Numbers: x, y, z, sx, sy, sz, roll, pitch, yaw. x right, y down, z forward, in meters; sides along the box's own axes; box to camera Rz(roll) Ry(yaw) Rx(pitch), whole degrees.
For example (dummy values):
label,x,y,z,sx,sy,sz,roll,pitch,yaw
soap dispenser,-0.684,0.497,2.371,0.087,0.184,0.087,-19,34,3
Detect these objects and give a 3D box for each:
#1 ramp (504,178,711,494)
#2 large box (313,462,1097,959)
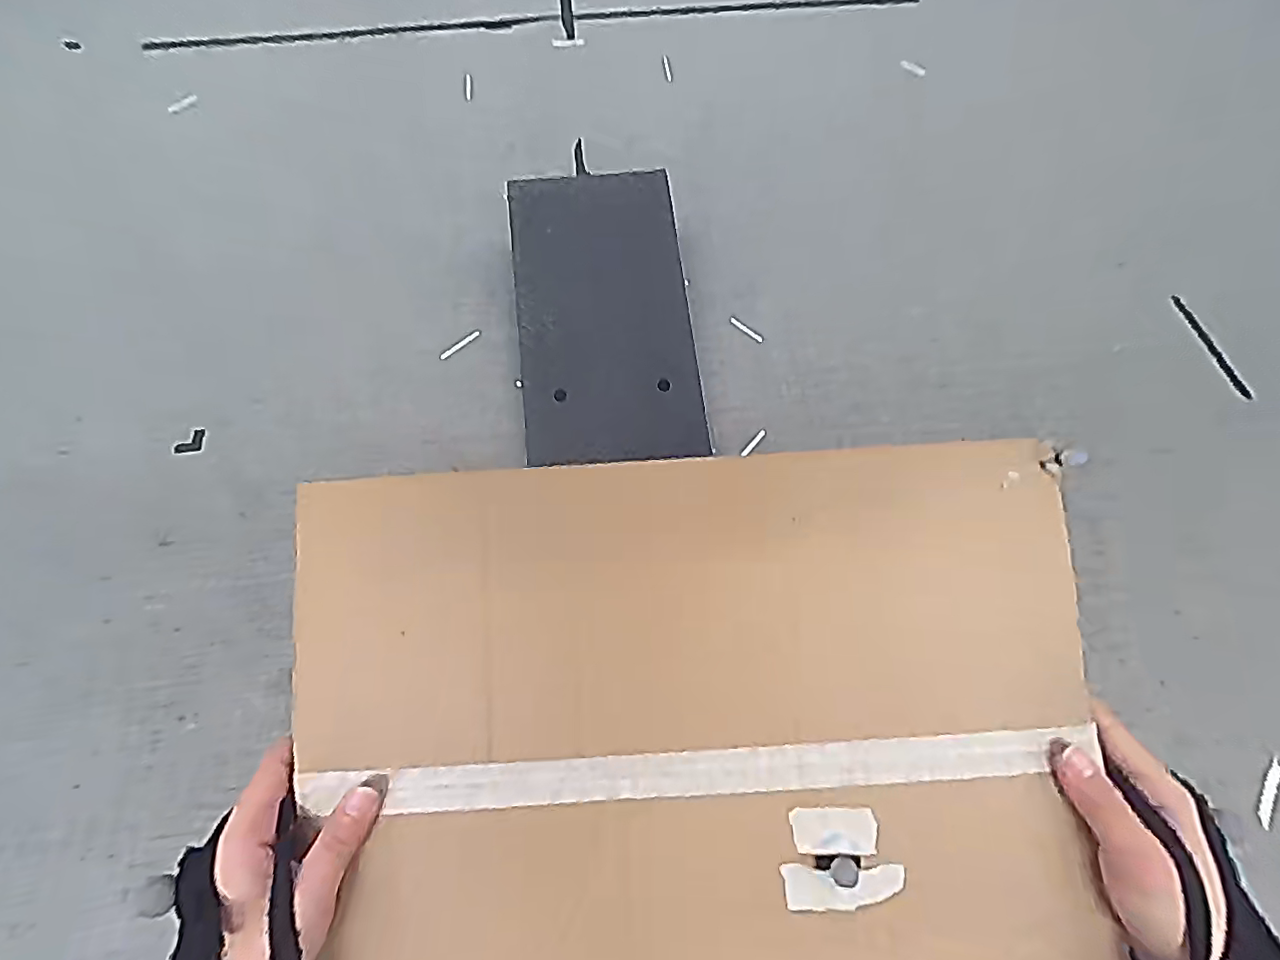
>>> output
label,x,y,z,sx,sy,sz,roll,pitch,yaw
ramp,-0.108,-0.427,1.538,0.509,0.206,0.991,-7,66,-6
large box,0.026,0.172,0.432,0.408,0.320,0.320,-4,85,-1
